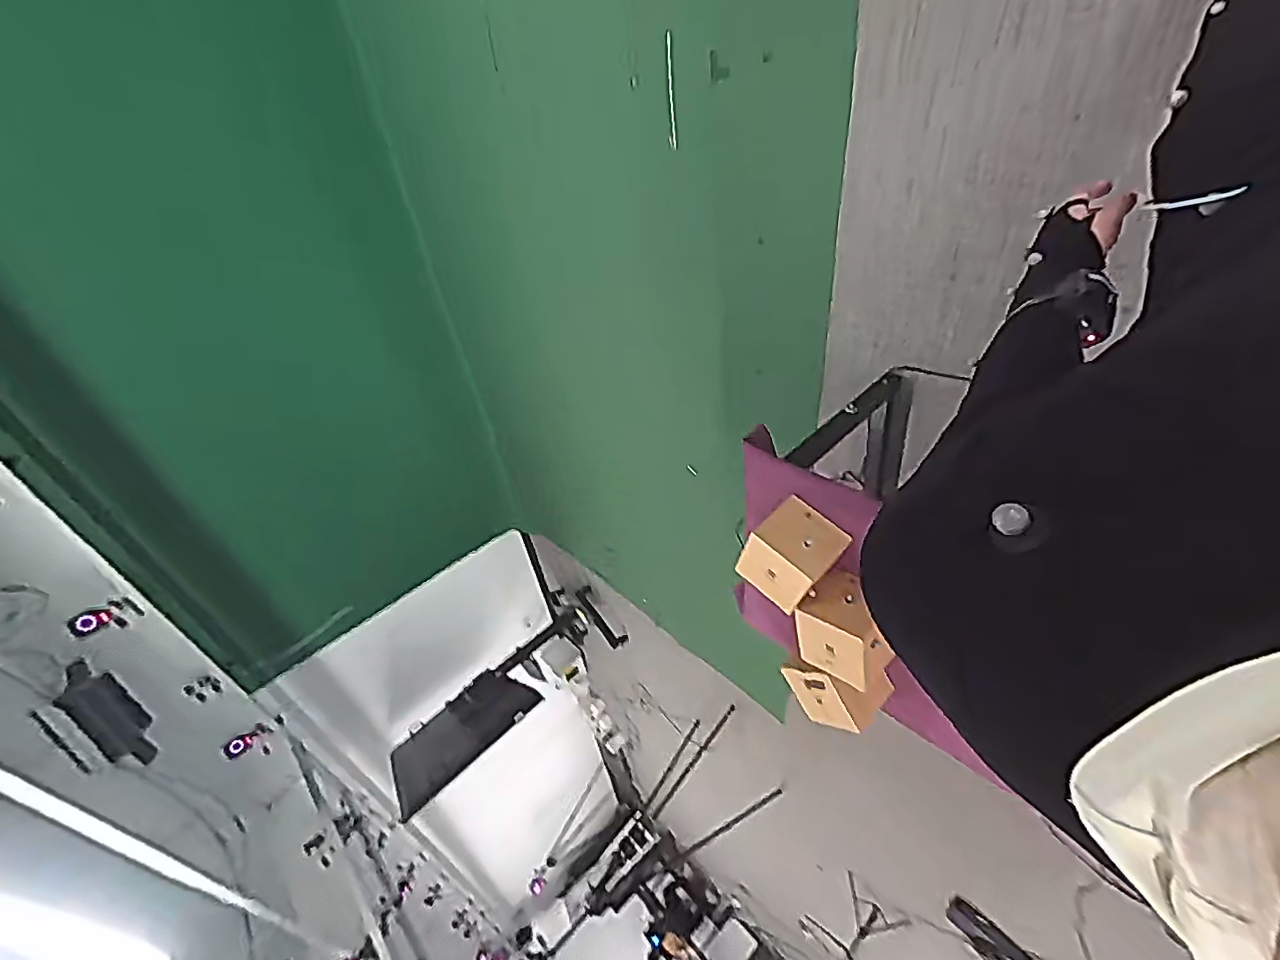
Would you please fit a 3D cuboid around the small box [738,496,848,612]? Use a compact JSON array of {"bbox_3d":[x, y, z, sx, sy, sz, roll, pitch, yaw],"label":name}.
[{"bbox_3d":[0.361,0.169,1.273,0.168,0.176,0.179,40,149,23],"label":"small box"}]
